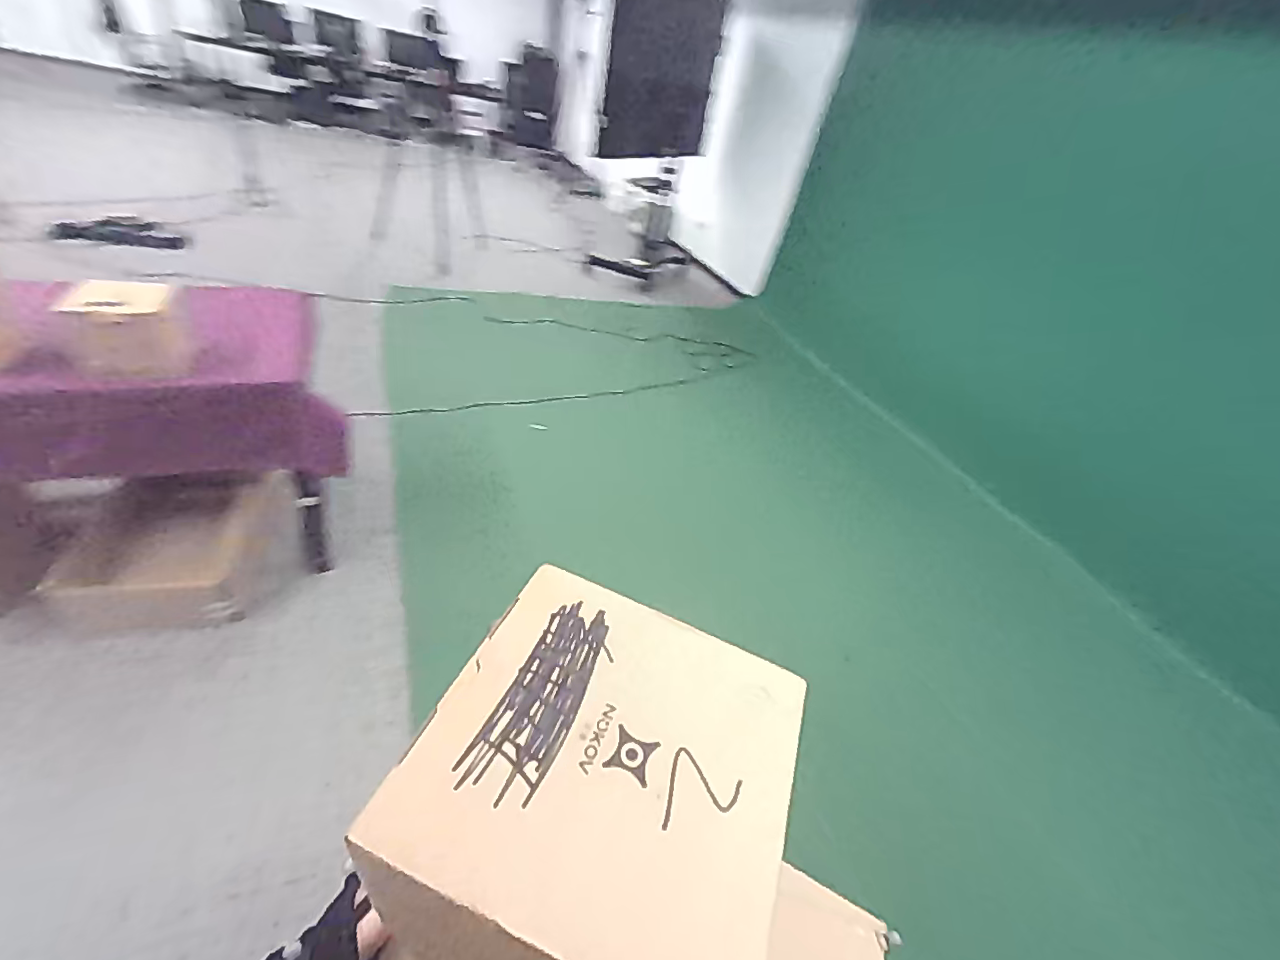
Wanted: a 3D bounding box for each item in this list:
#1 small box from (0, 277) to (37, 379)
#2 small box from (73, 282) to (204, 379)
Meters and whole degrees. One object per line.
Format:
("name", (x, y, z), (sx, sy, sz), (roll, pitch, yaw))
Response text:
("small box", (-1.464, -0.332, 1.157), (0.168, 0.176, 0.179), (-1, 40, -20))
("small box", (-1.167, -0.350, 1.277), (0.168, 0.176, 0.179), (-4, 40, -23))
